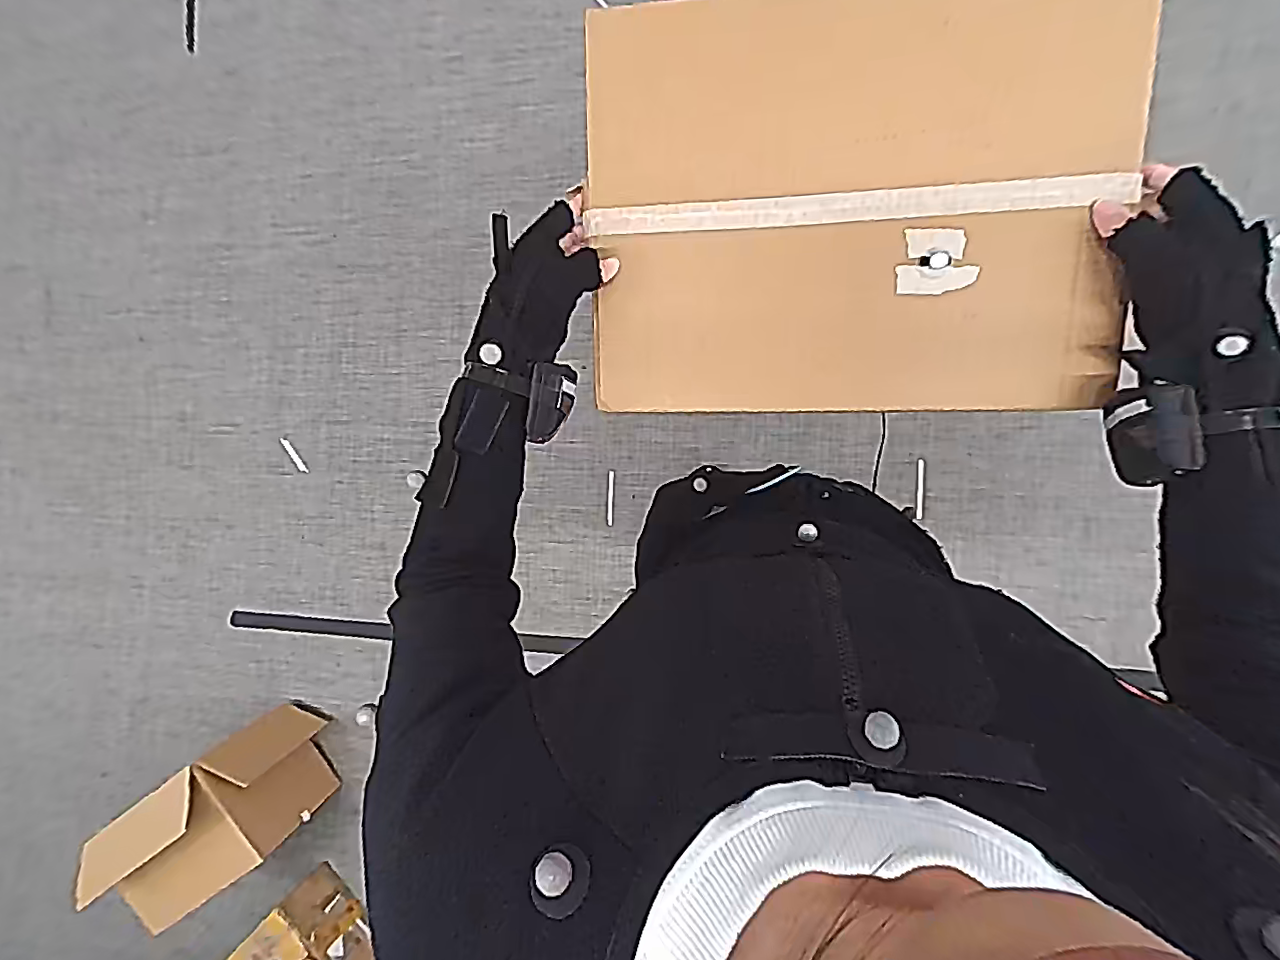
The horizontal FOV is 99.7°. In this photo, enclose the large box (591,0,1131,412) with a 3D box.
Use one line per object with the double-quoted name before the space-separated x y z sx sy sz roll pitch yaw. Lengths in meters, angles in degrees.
"large box" 0.178 -0.238 0.579 0.408 0.320 0.320 0 100 8
